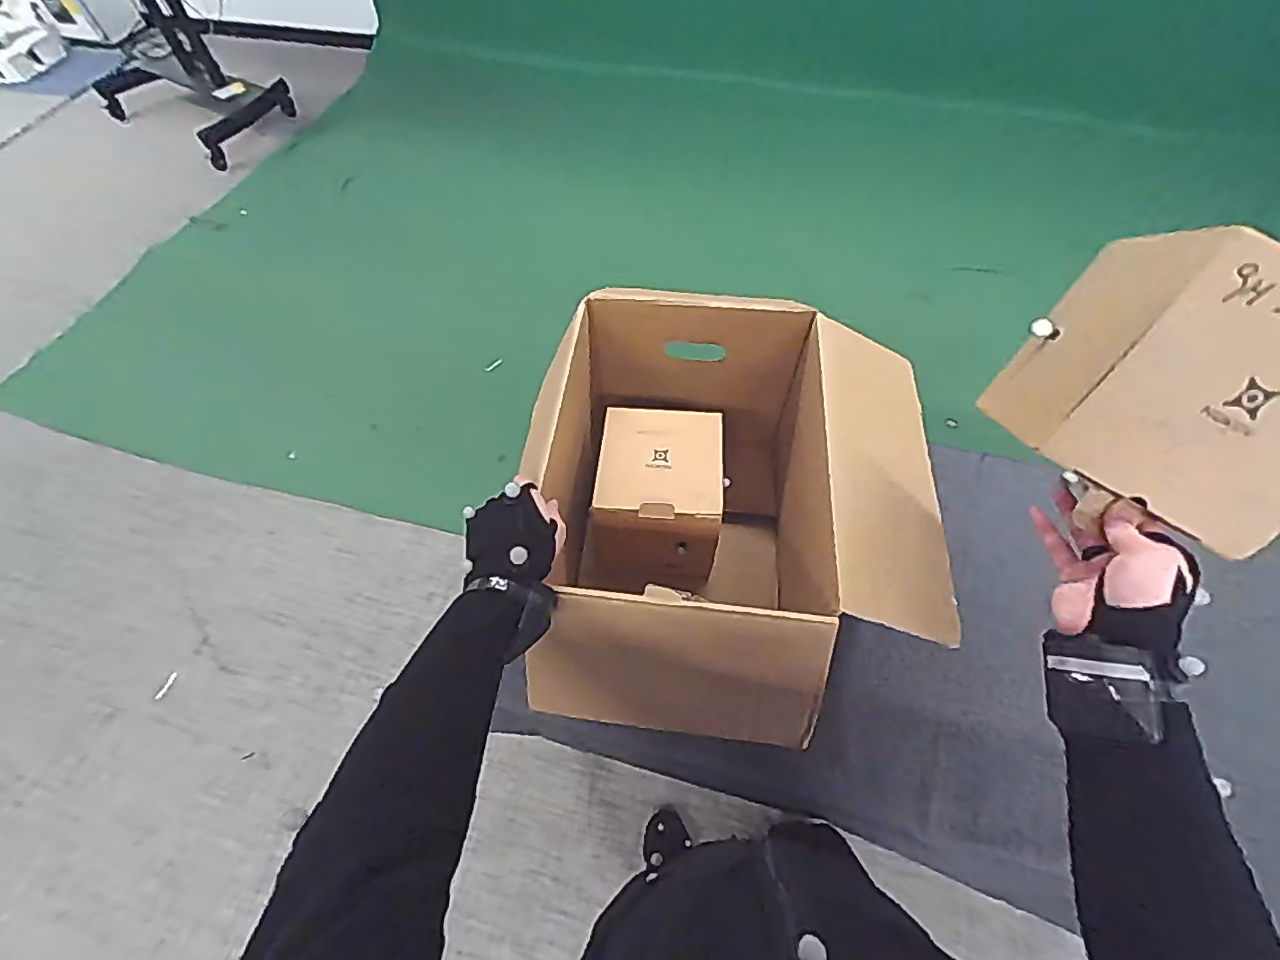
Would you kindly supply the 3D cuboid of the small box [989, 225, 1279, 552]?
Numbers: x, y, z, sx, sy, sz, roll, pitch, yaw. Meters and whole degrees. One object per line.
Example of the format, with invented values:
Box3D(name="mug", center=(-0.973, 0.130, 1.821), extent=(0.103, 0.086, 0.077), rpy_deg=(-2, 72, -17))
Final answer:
Box3D(name="small box", center=(0.424, -0.081, 0.442), extent=(0.168, 0.179, 0.176), rpy_deg=(30, 27, 5))
